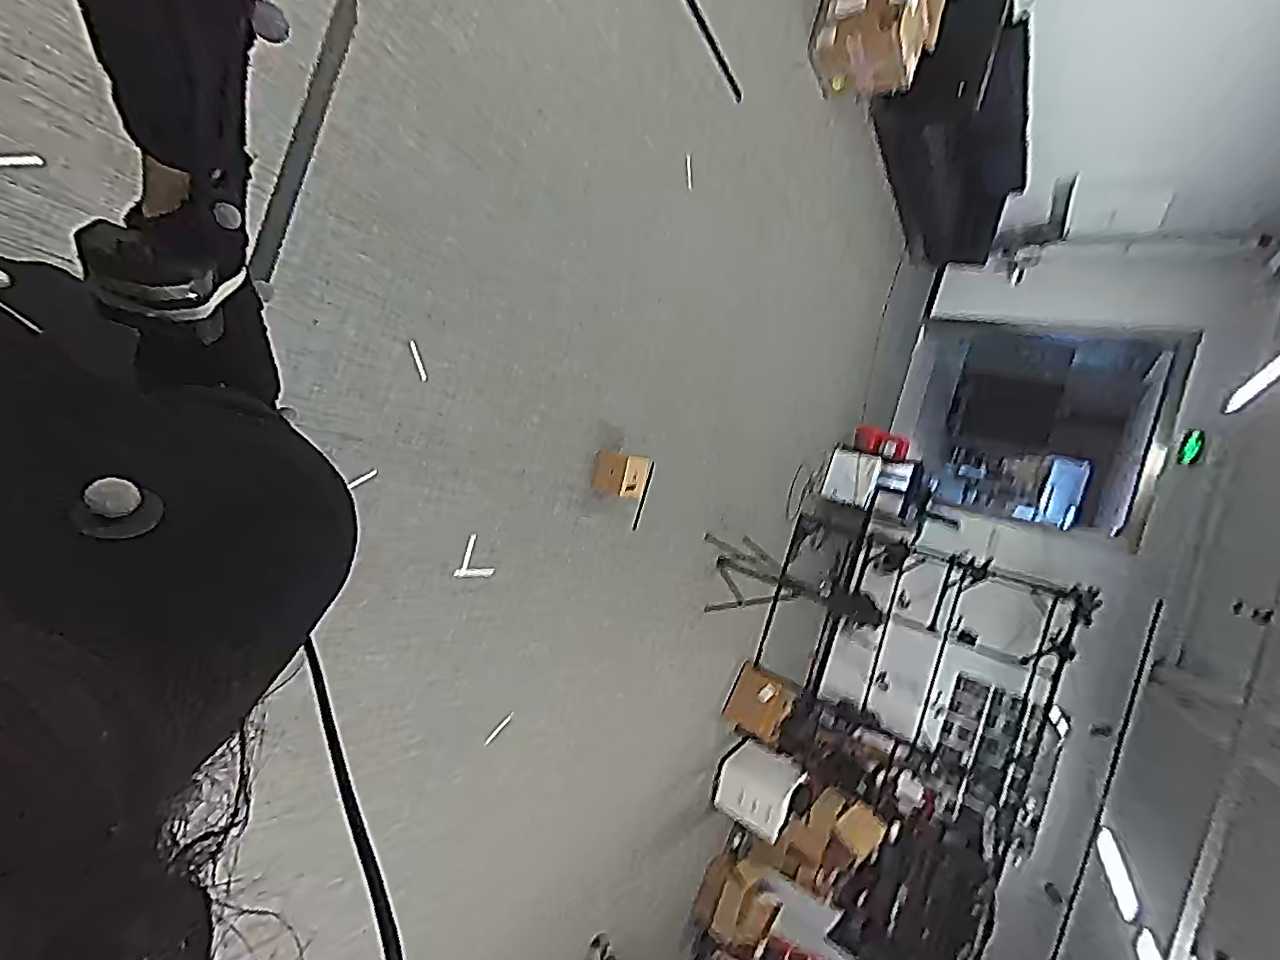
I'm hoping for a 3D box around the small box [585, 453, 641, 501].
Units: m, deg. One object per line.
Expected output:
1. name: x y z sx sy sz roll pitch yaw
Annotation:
1. small box: -0.124 -0.013 2.428 0.168 0.176 0.179 6 97 -56
